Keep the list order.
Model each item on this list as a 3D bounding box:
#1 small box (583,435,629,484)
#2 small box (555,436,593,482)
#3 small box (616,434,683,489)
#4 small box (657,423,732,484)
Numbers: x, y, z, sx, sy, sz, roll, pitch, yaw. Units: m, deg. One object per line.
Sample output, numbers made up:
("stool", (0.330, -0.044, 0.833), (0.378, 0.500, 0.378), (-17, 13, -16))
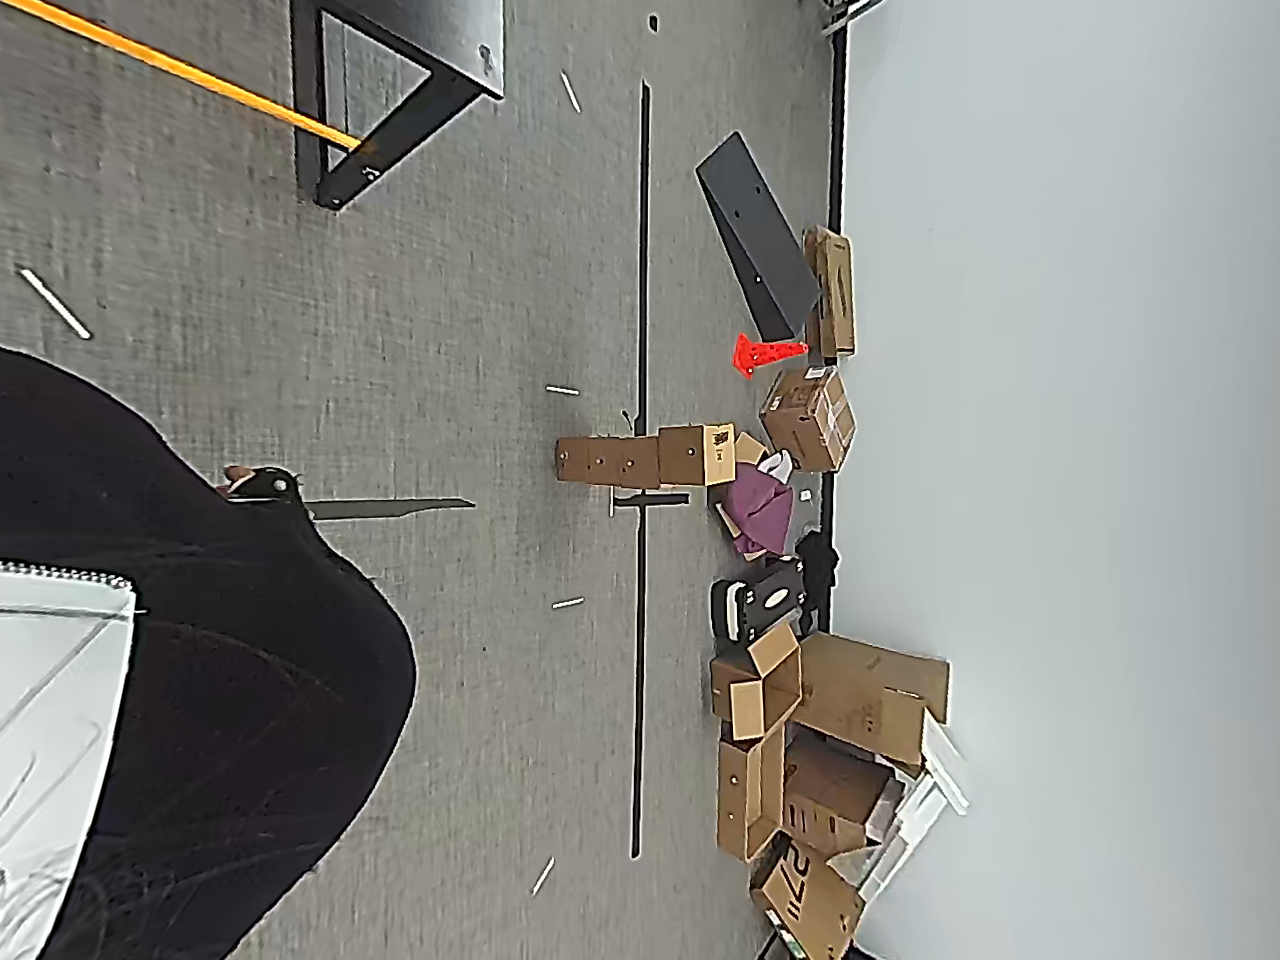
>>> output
("small box", (-0.083, -0.069, 1.874), (0.179, 0.176, 0.168), (-3, 94, -48))
("small box", (-0.195, -0.079, 1.994), (0.179, 0.176, 0.168), (-4, 94, -48))
("small box", (0.041, -0.065, 1.764), (0.179, 0.176, 0.168), (-11, 99, -48))
("small box", (0.164, -0.082, 1.655), (0.168, 0.176, 0.179), (-9, 98, -49))
